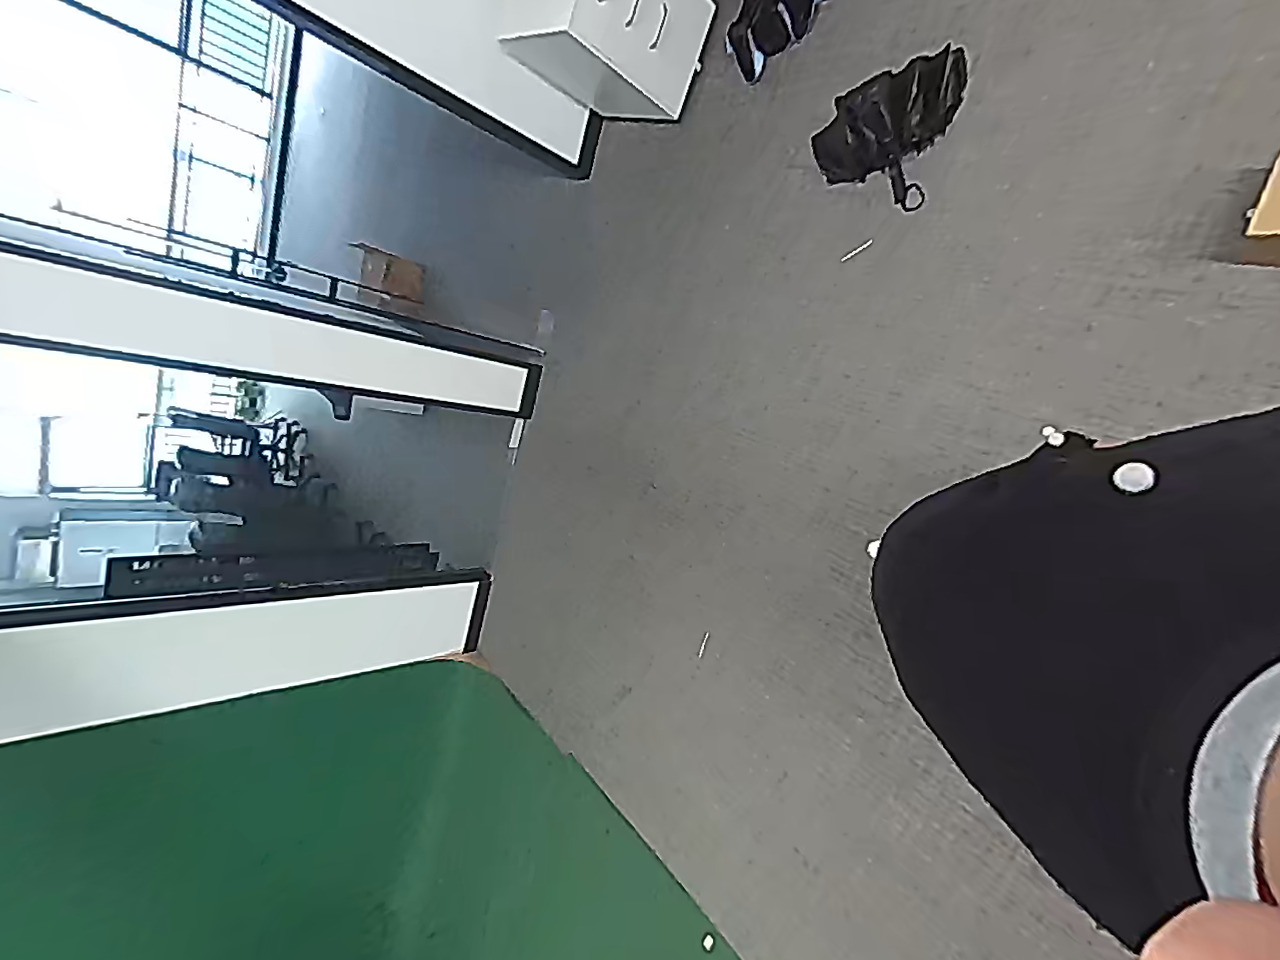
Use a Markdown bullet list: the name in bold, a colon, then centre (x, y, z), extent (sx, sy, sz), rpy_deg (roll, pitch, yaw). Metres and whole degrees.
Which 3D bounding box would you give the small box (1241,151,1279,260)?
- **small box**: centre (1.224, -0.497, 0.962), extent (0.168, 0.176, 0.179), rpy_deg (24, 107, 43)
